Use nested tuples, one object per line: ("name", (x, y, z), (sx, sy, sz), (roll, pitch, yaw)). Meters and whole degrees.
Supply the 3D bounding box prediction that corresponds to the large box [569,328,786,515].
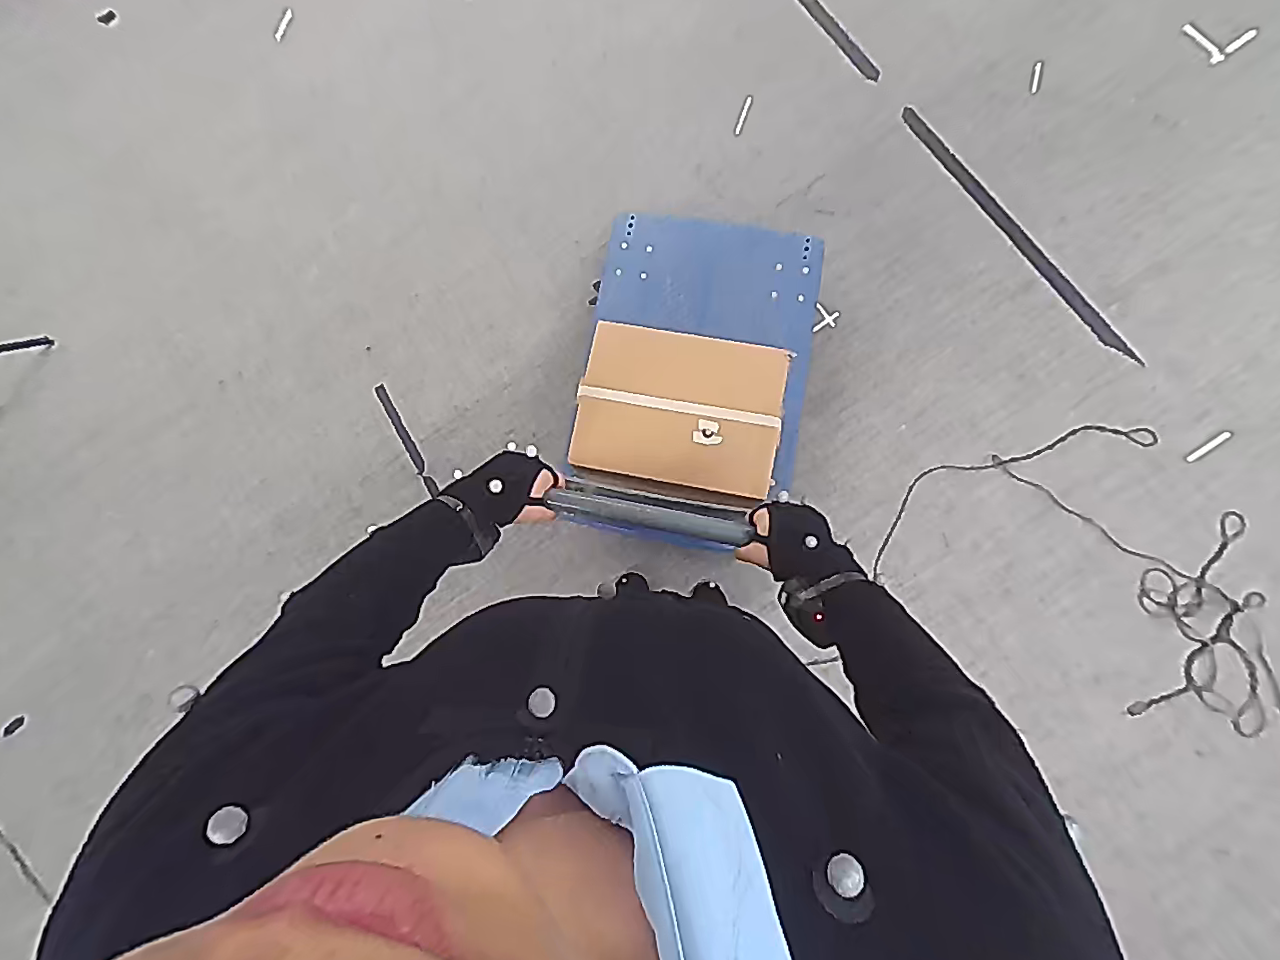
("large box", (0.083, -0.115, 1.238), (0.408, 0.320, 0.320), (11, 82, 5))
